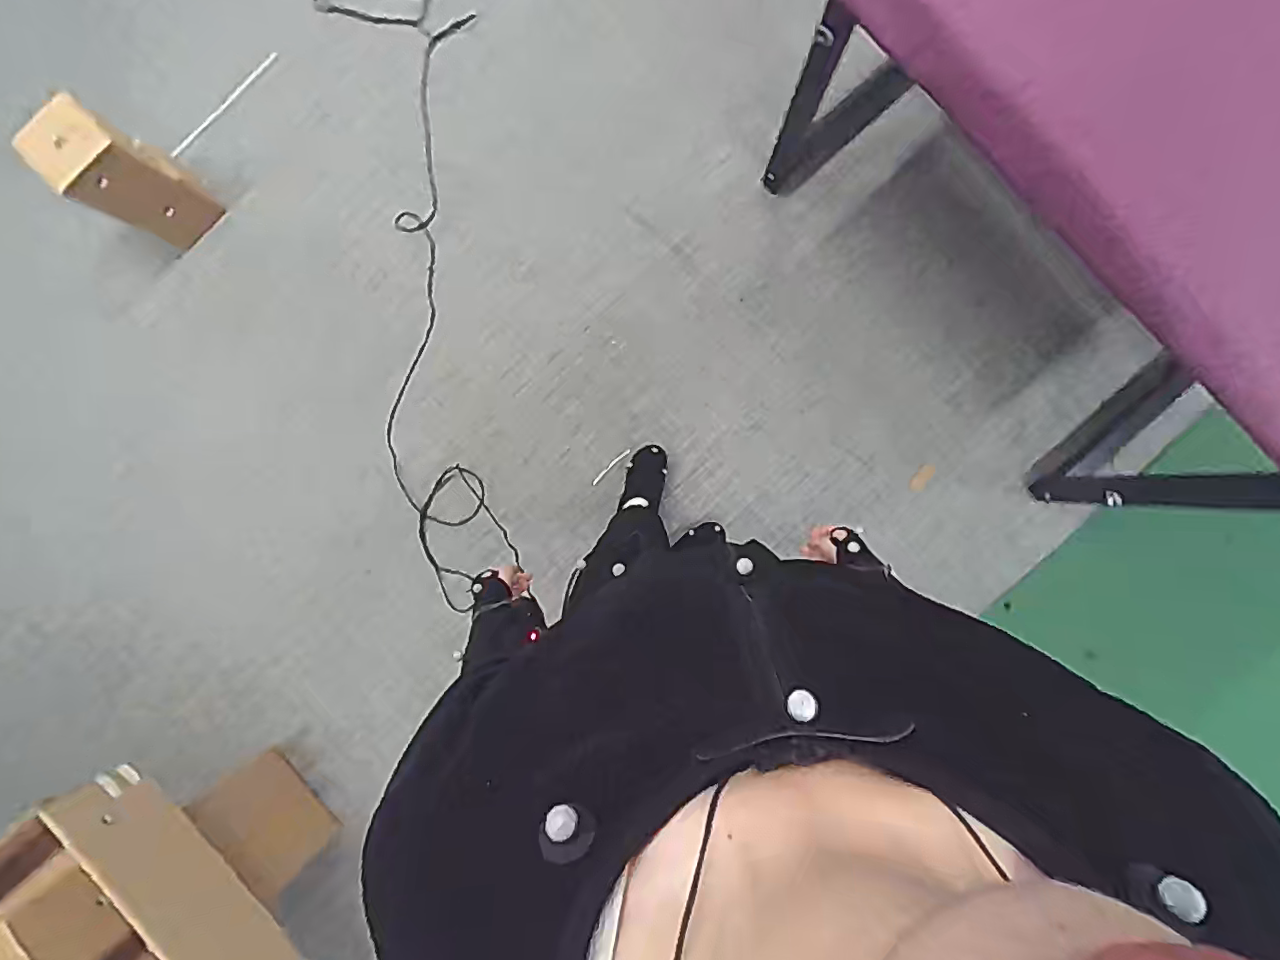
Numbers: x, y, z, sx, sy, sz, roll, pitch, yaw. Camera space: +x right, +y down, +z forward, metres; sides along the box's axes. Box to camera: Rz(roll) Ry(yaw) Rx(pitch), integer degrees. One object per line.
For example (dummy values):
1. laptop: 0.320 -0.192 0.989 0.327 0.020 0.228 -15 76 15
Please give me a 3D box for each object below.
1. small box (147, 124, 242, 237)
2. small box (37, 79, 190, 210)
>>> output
1. small box: -1.261 -0.813 1.488 0.179 0.176 0.168 -42 88 1
2. small box: -1.275 -0.808 1.324 0.179 0.176 0.168 -41 89 1
